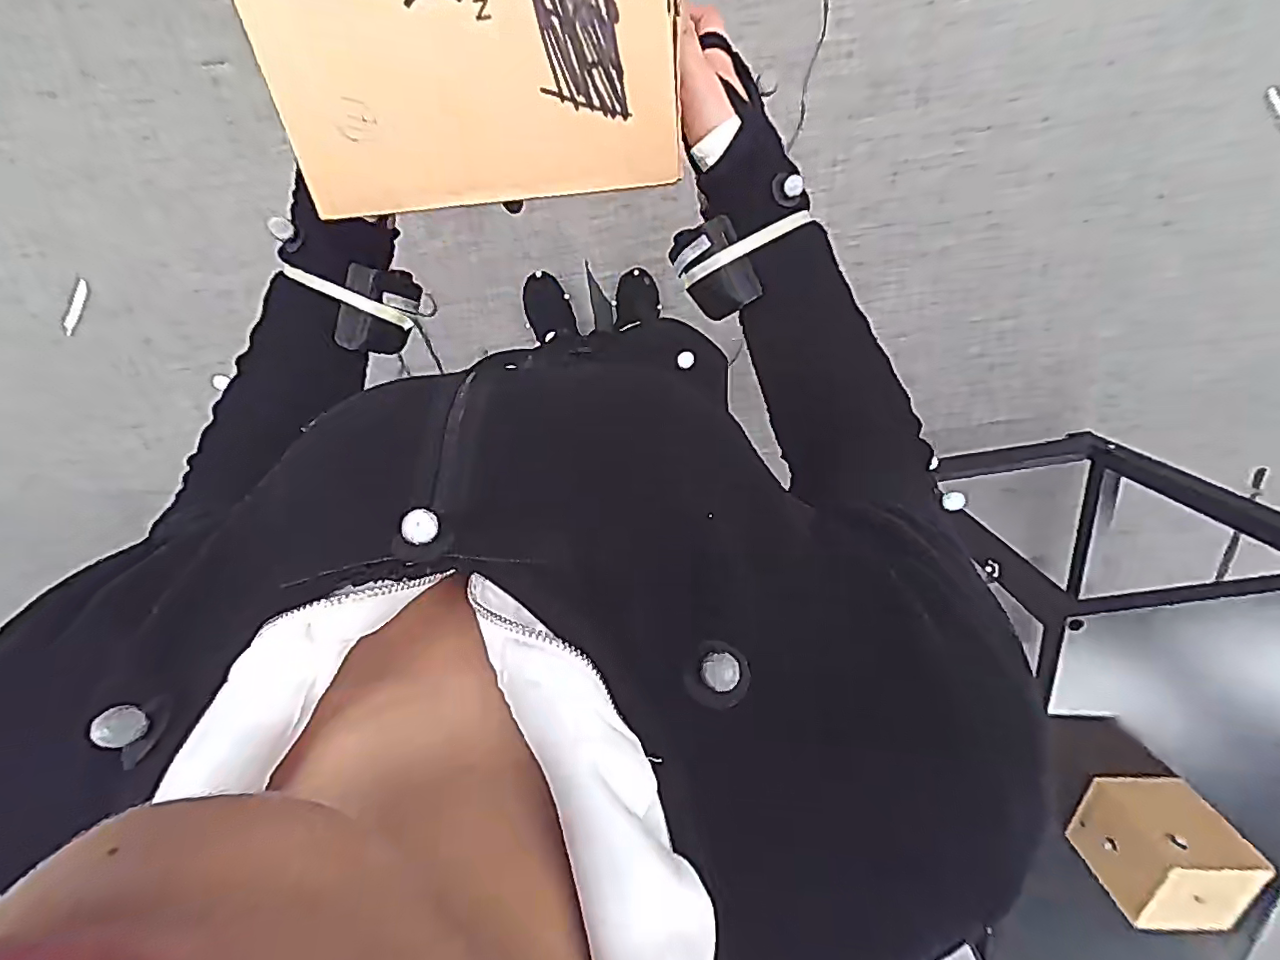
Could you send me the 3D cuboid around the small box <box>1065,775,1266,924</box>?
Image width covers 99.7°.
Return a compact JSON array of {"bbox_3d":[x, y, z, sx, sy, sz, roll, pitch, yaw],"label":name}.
[{"bbox_3d":[0.945,0.672,0.996,0.179,0.176,0.168,2,113,-3],"label":"small box"}]
